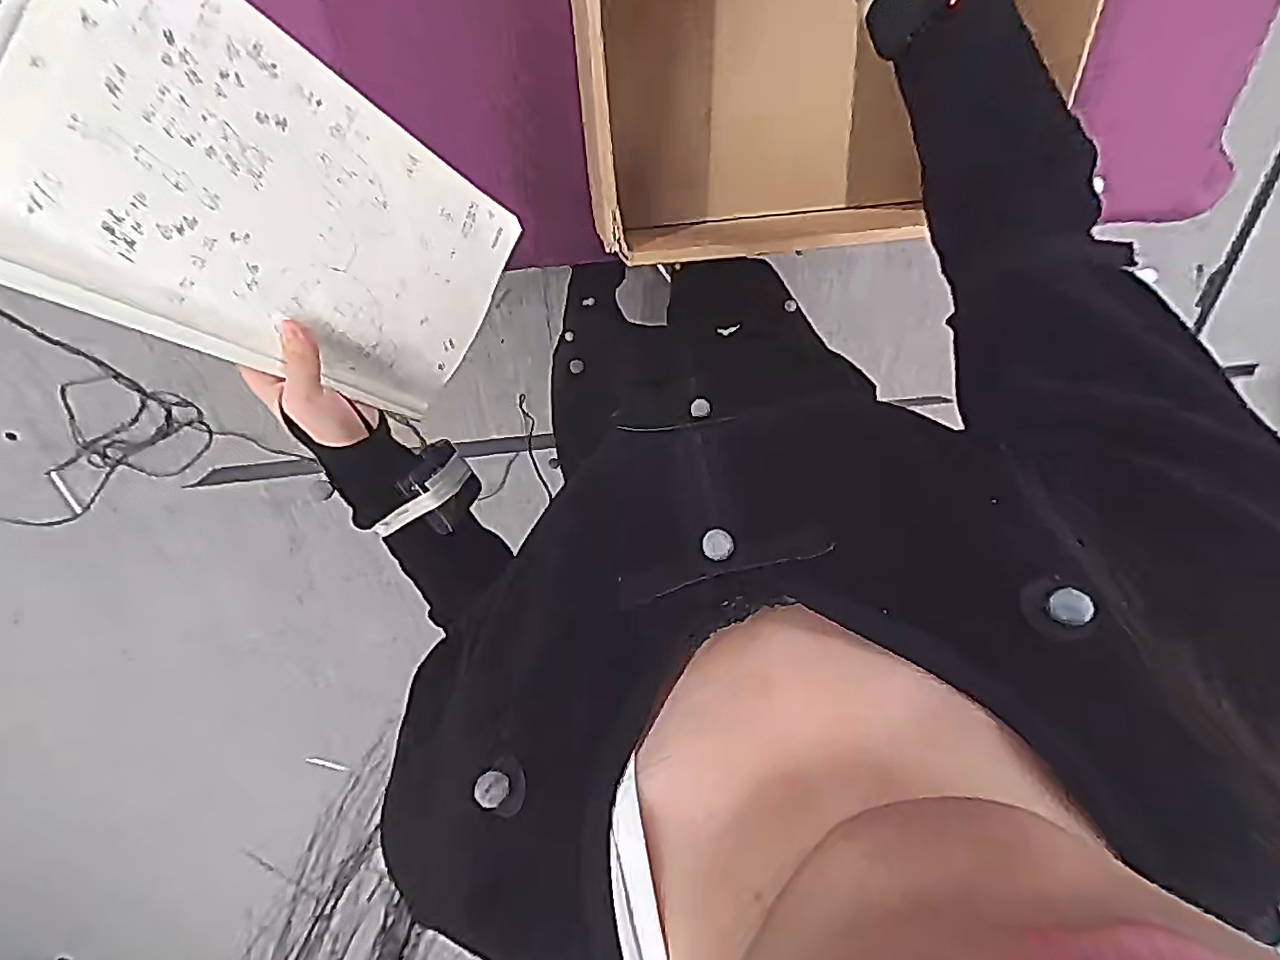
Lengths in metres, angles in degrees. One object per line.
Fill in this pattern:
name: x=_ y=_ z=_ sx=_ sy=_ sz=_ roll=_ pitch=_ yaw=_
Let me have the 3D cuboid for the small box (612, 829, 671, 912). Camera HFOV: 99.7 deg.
small box: x=-0.001 y=1.341 z=1.861 sx=0.179 sy=0.176 sz=0.168 roll=-5 pitch=124 yaw=-10

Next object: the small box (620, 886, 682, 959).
small box: x=0.030 y=1.440 z=1.733 sx=0.168 sy=0.176 sz=0.179 roll=-3 pitch=124 yaw=-11
